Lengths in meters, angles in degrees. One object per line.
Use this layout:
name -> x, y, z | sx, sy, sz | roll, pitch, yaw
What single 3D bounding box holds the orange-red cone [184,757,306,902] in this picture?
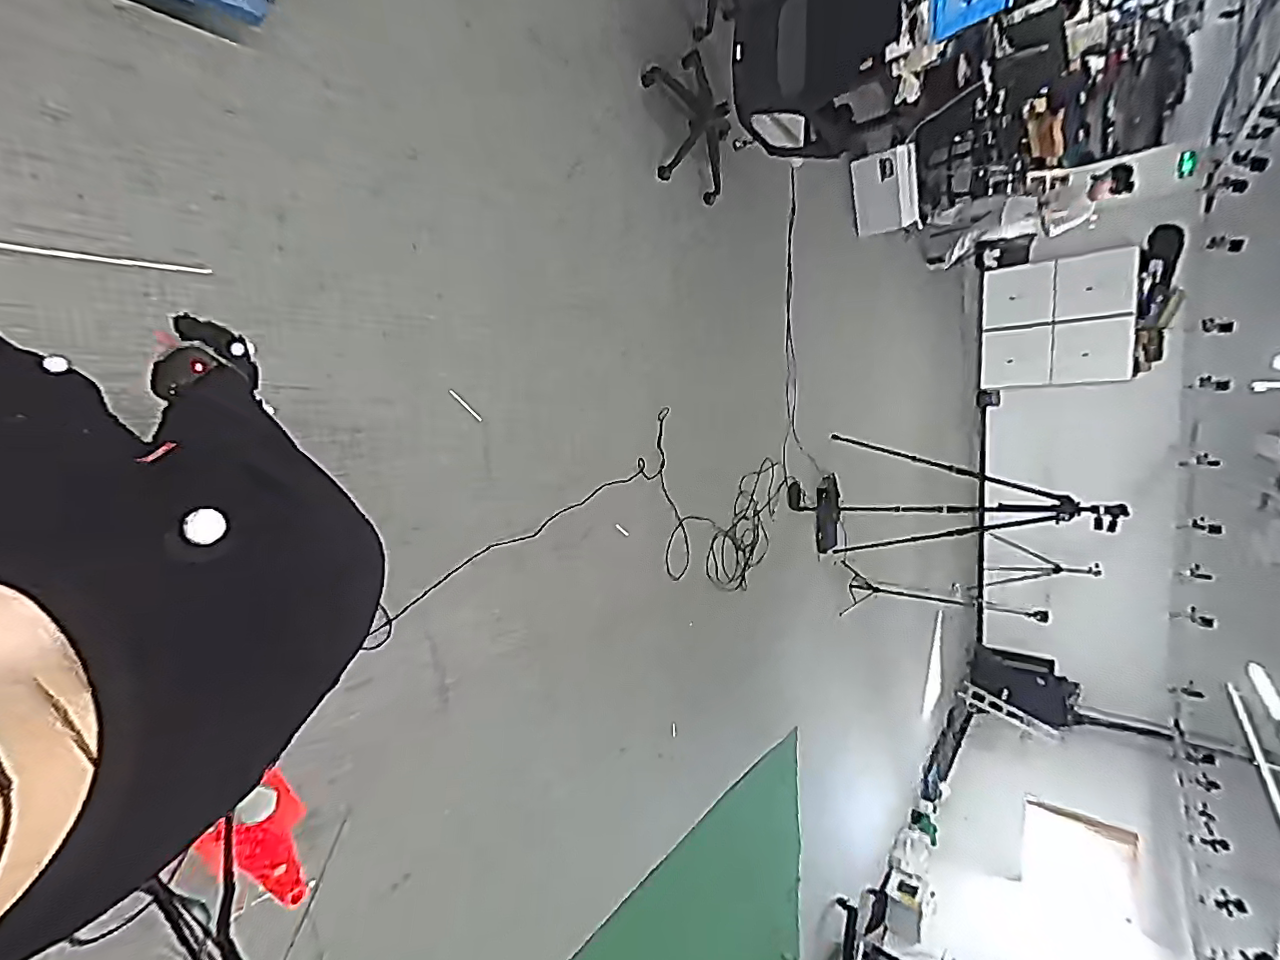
orange-red cone -> -0.824, 0.817, 1.202 | 0.198, 0.360, 0.199 | -35, 120, -42
